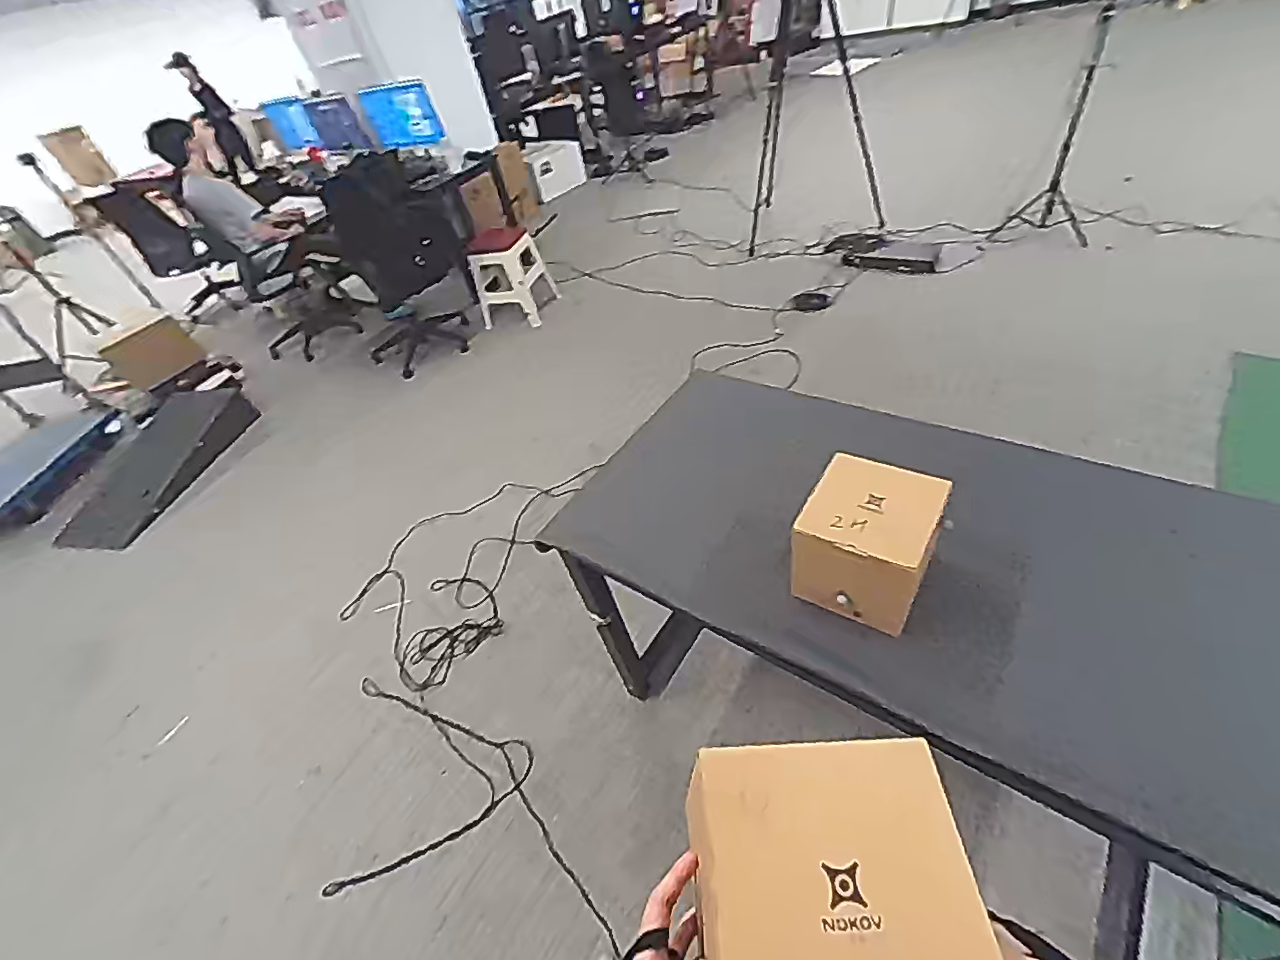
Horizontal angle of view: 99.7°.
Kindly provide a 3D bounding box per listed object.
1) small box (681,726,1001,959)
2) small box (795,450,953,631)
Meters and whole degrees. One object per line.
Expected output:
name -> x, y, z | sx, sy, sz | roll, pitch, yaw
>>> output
small box -> 0.121, 0.296, 0.390 | 0.168, 0.176, 0.179 | -3, 50, -1
small box -> 0.342, 0.088, 0.811 | 0.168, 0.176, 0.179 | 19, 53, 32
